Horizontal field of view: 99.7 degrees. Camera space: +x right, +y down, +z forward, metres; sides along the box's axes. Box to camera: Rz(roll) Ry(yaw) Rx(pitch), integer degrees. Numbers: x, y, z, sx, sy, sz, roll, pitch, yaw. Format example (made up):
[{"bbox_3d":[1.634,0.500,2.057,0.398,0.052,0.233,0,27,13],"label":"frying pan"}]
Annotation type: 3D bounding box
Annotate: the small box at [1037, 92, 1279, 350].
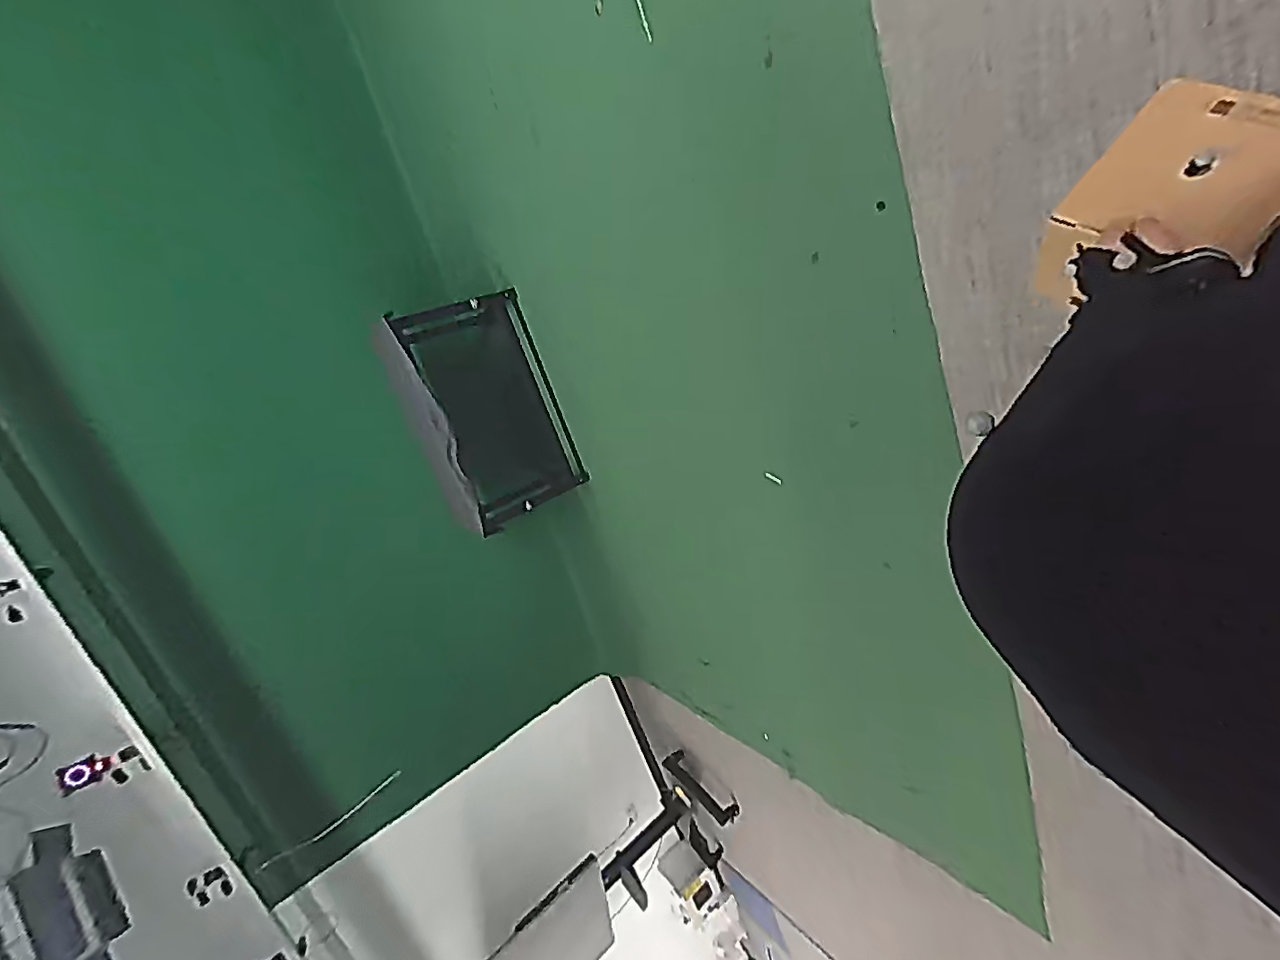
[{"bbox_3d":[0.595,-0.285,0.606,0.176,0.179,0.168,-52,57,9],"label":"small box"}]
